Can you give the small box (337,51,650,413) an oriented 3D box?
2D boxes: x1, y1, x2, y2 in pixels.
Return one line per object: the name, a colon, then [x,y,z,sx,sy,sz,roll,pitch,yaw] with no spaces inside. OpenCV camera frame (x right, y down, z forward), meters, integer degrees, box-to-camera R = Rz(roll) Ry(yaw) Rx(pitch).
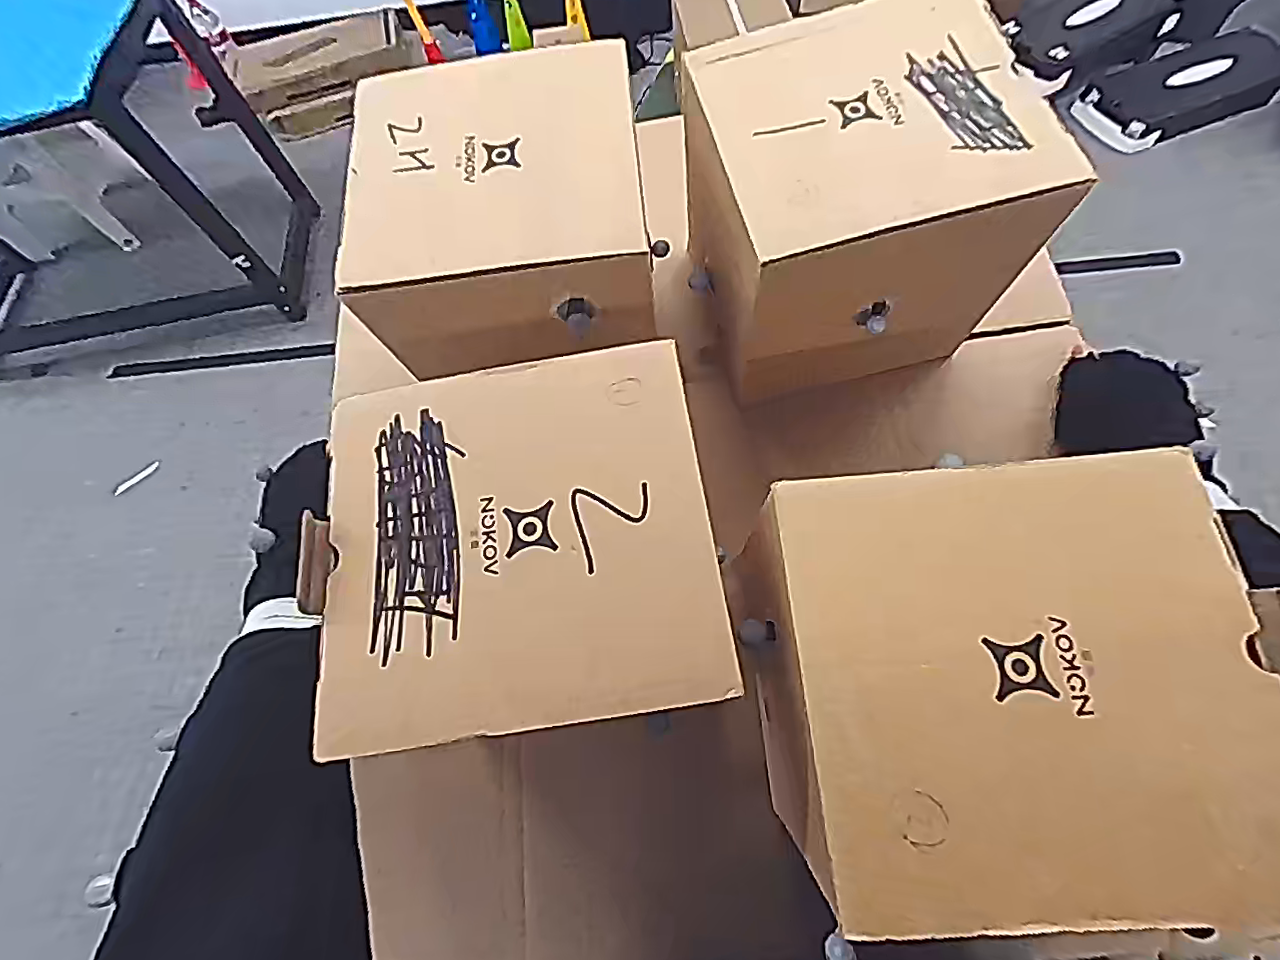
small box: [-0.086,-0.164,0.403,0.179,0.176,0.168,-6,71,4]
